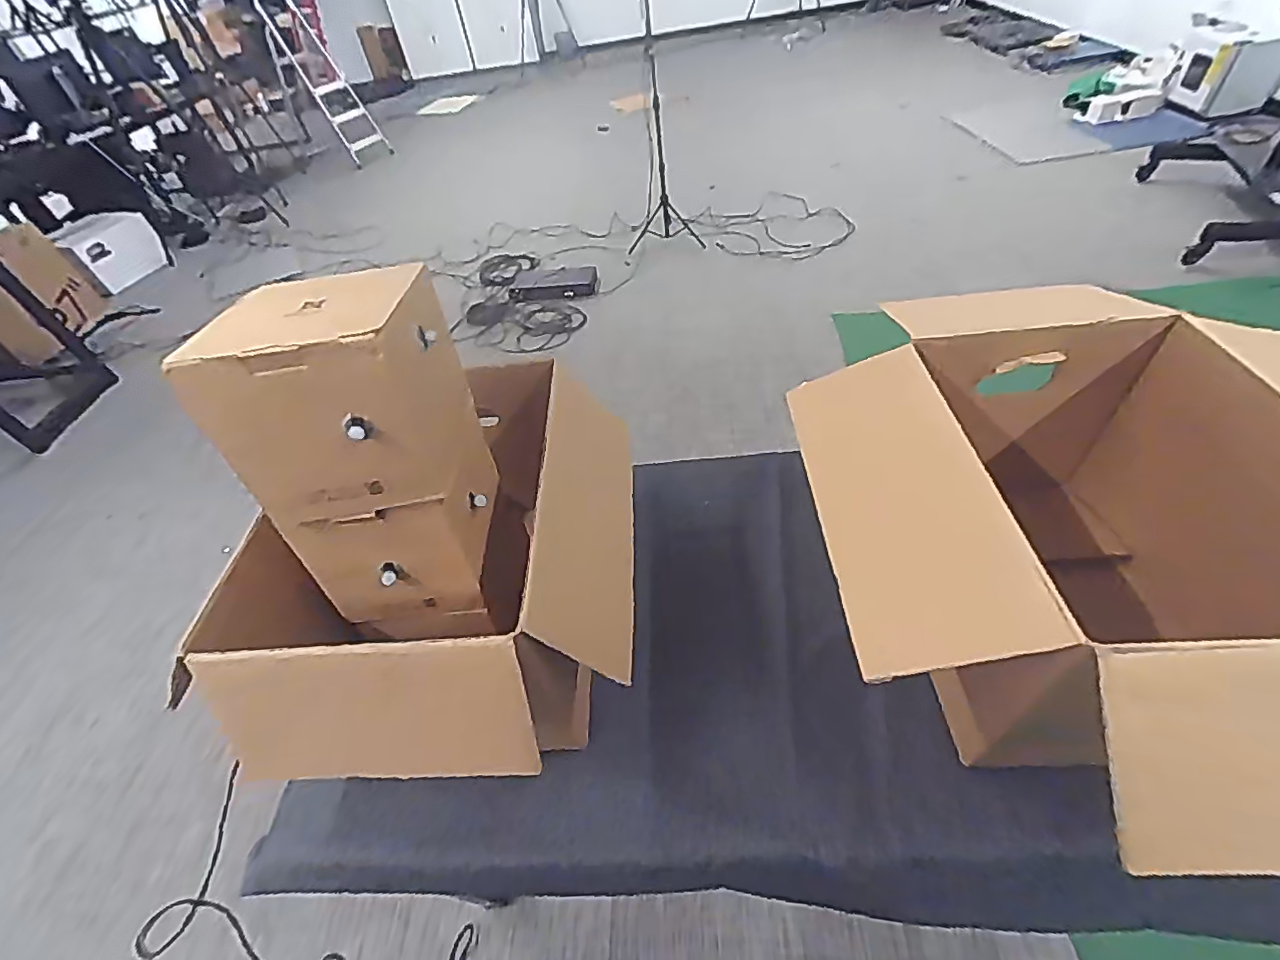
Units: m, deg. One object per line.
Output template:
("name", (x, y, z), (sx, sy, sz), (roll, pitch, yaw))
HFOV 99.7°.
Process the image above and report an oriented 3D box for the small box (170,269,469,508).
("small box", (-0.281, -0.086, 0.529), (0.168, 0.176, 0.179), (-7, 37, -1))
